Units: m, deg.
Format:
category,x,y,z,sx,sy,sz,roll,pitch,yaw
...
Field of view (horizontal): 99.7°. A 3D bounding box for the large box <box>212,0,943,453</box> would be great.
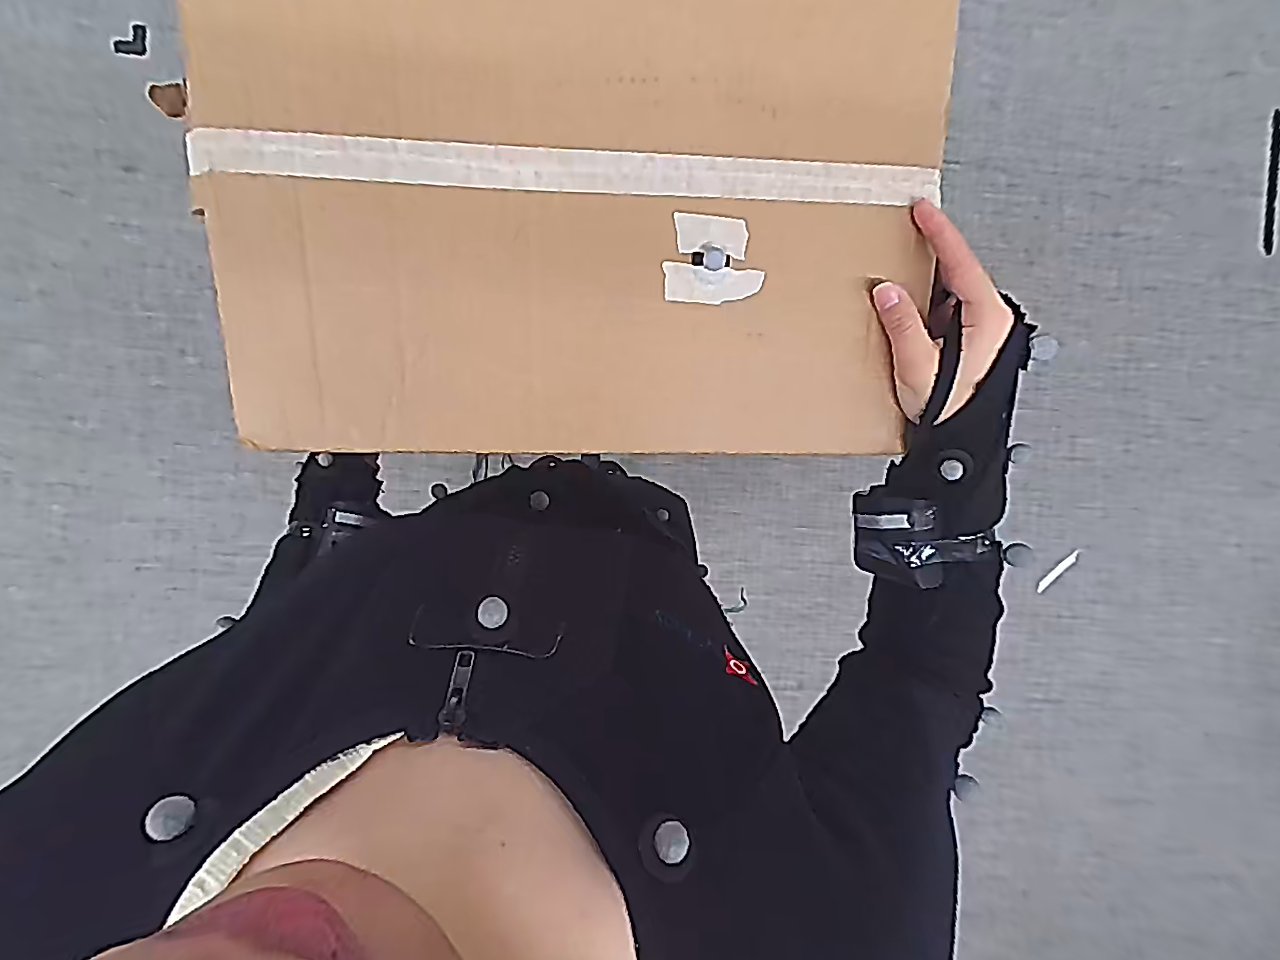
category,x,y,z,sx,sy,sz,roll,pitch,yaw
large box,-0.040,-0.200,0.456,0.408,0.320,0.320,-1,102,-7
